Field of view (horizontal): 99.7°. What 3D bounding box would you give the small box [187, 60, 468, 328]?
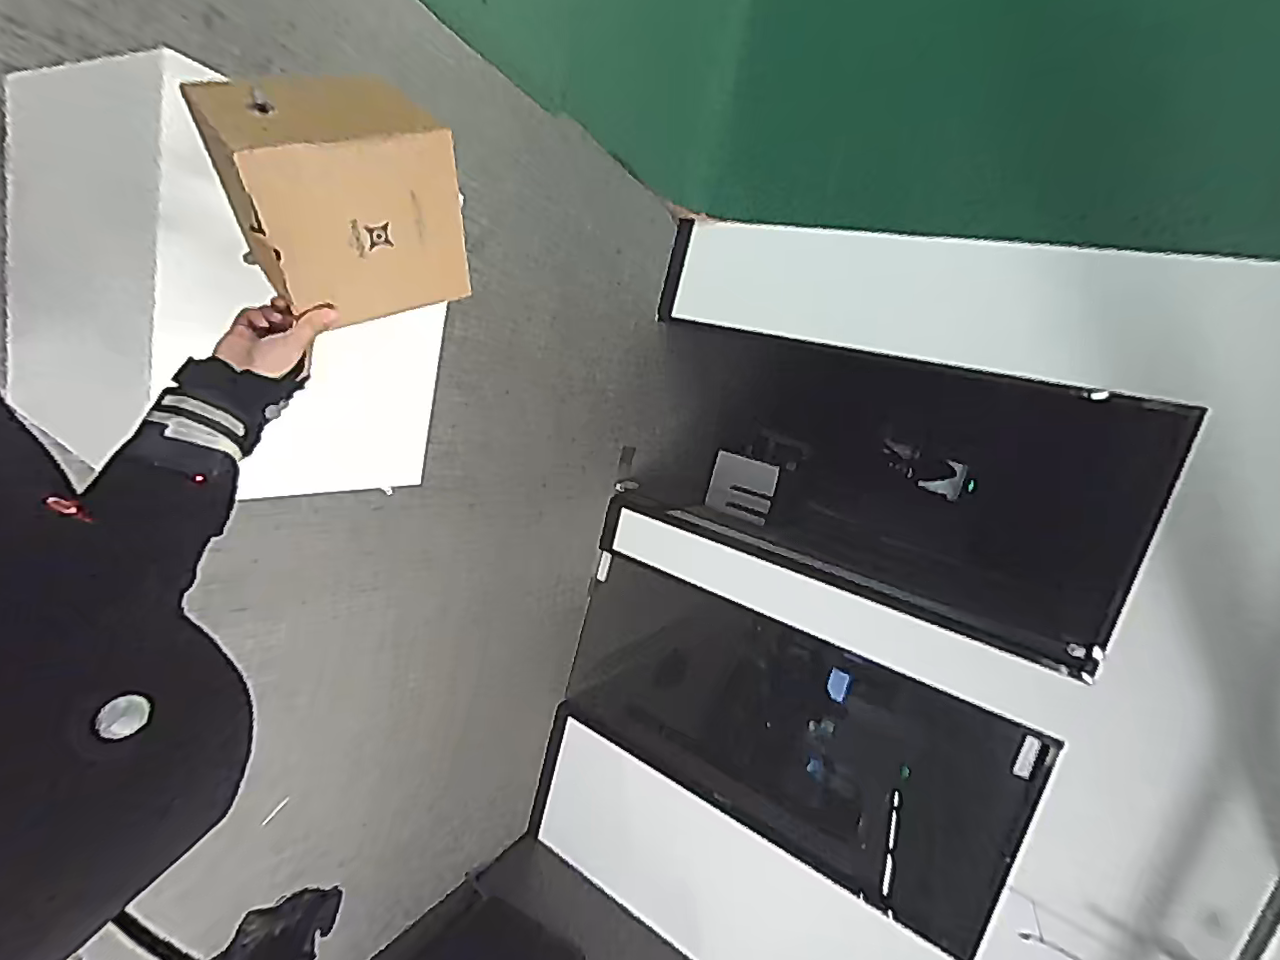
[{"bbox_3d":[-0.294,-0.281,0.524,0.179,0.176,0.168,-29,151,-29],"label":"small box"}]
